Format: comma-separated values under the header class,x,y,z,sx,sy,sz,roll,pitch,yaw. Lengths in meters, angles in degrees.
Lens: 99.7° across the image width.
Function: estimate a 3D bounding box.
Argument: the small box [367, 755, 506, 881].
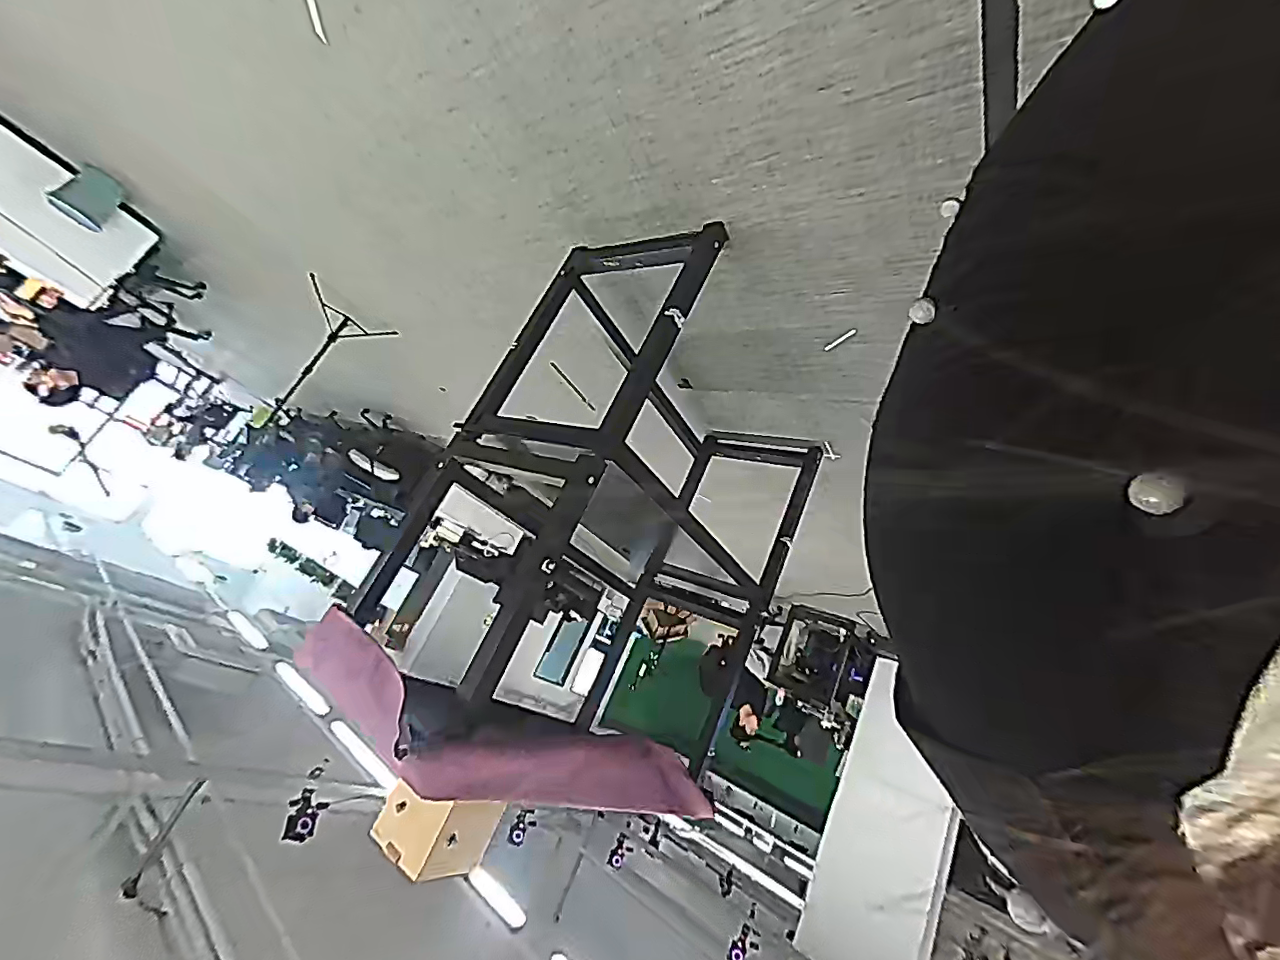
class,x,y,z,sx,sy,sz,roll,pitch,yaw
small box,-0.423,0.701,1.144,0.168,0.176,0.179,15,161,33
